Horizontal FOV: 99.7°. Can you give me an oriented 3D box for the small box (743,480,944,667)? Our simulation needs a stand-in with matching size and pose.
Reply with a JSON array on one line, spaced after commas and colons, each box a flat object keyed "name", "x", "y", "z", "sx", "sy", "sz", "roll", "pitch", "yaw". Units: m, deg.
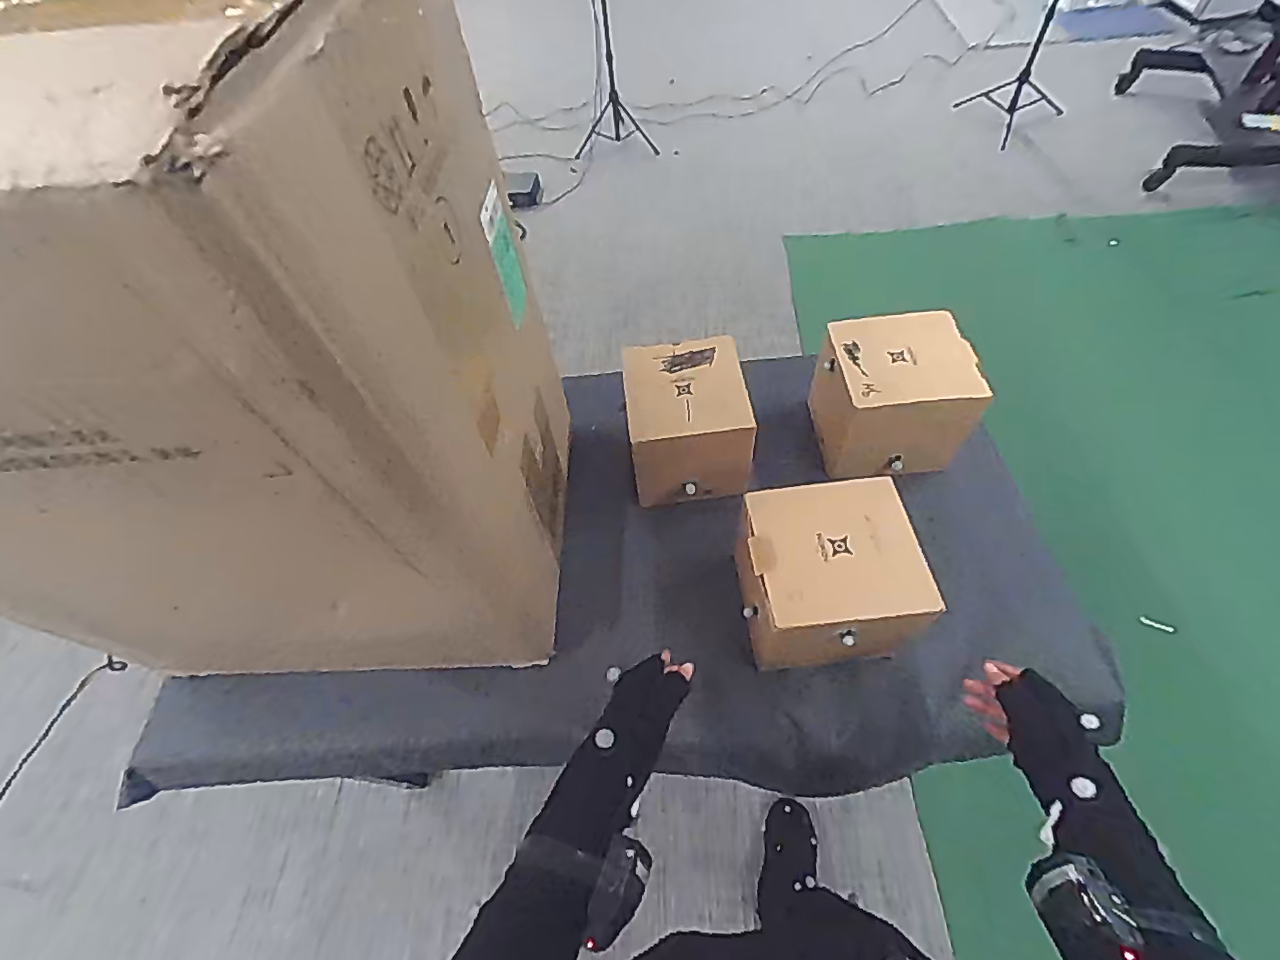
[{"name": "small box", "x": 0.227, "y": 0.121, "z": 0.663, "sx": 0.179, "sy": 0.176, "sz": 0.168, "roll": -7, "pitch": 57, "yaw": 1}]

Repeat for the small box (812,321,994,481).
[{"name": "small box", "x": 0.372, "y": -0.112, "z": 0.804, "sx": 0.179, "sy": 0.176, "sz": 0.168, "roll": -4, "pitch": 54, "yaw": 3}]
